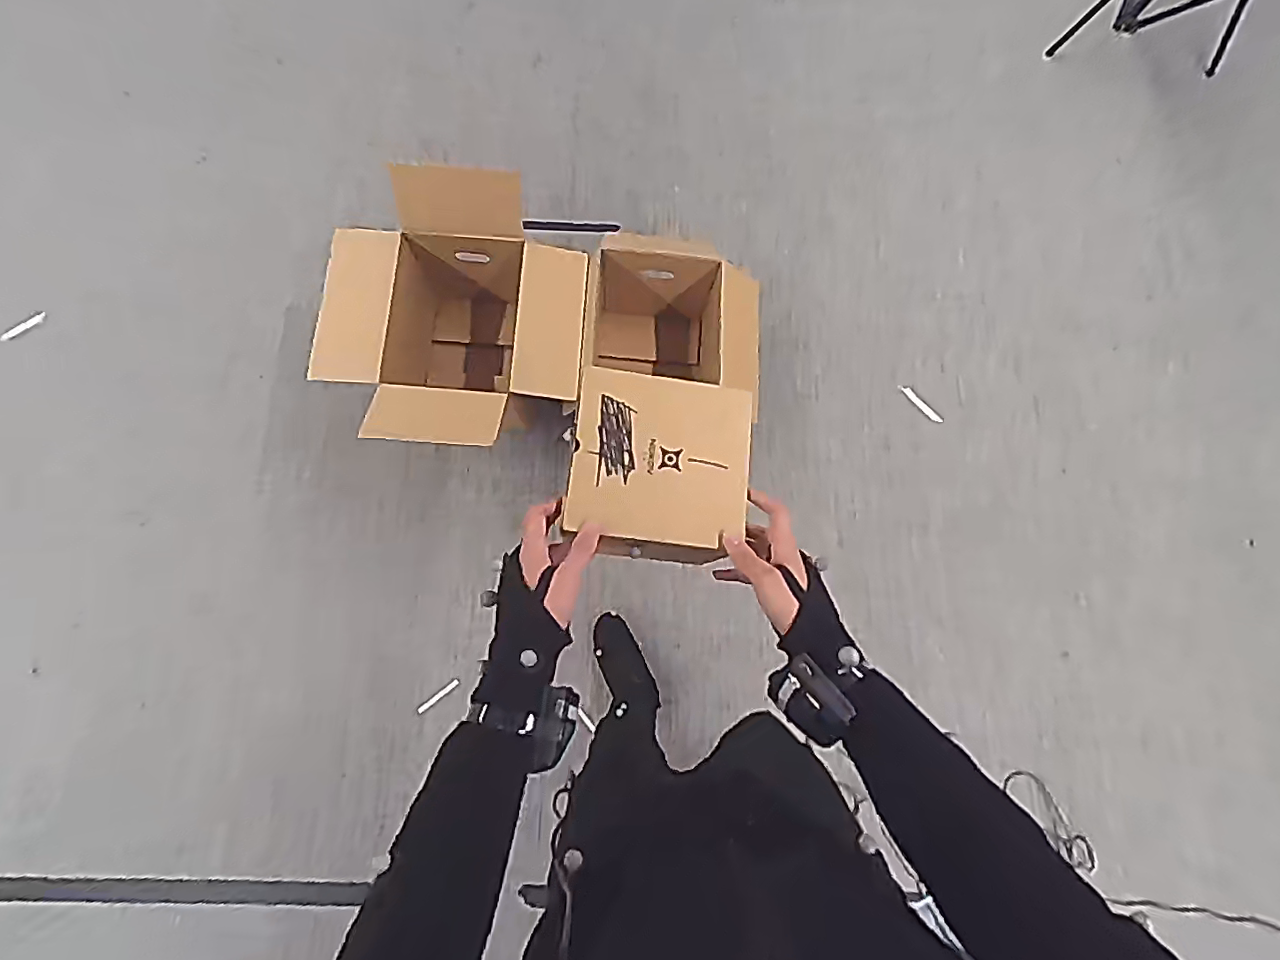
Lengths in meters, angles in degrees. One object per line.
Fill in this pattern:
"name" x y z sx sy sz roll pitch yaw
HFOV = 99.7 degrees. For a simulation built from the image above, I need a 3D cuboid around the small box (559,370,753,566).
"small box" 0.010 0.000 0.595 0.179 0.176 0.168 8 76 -6
